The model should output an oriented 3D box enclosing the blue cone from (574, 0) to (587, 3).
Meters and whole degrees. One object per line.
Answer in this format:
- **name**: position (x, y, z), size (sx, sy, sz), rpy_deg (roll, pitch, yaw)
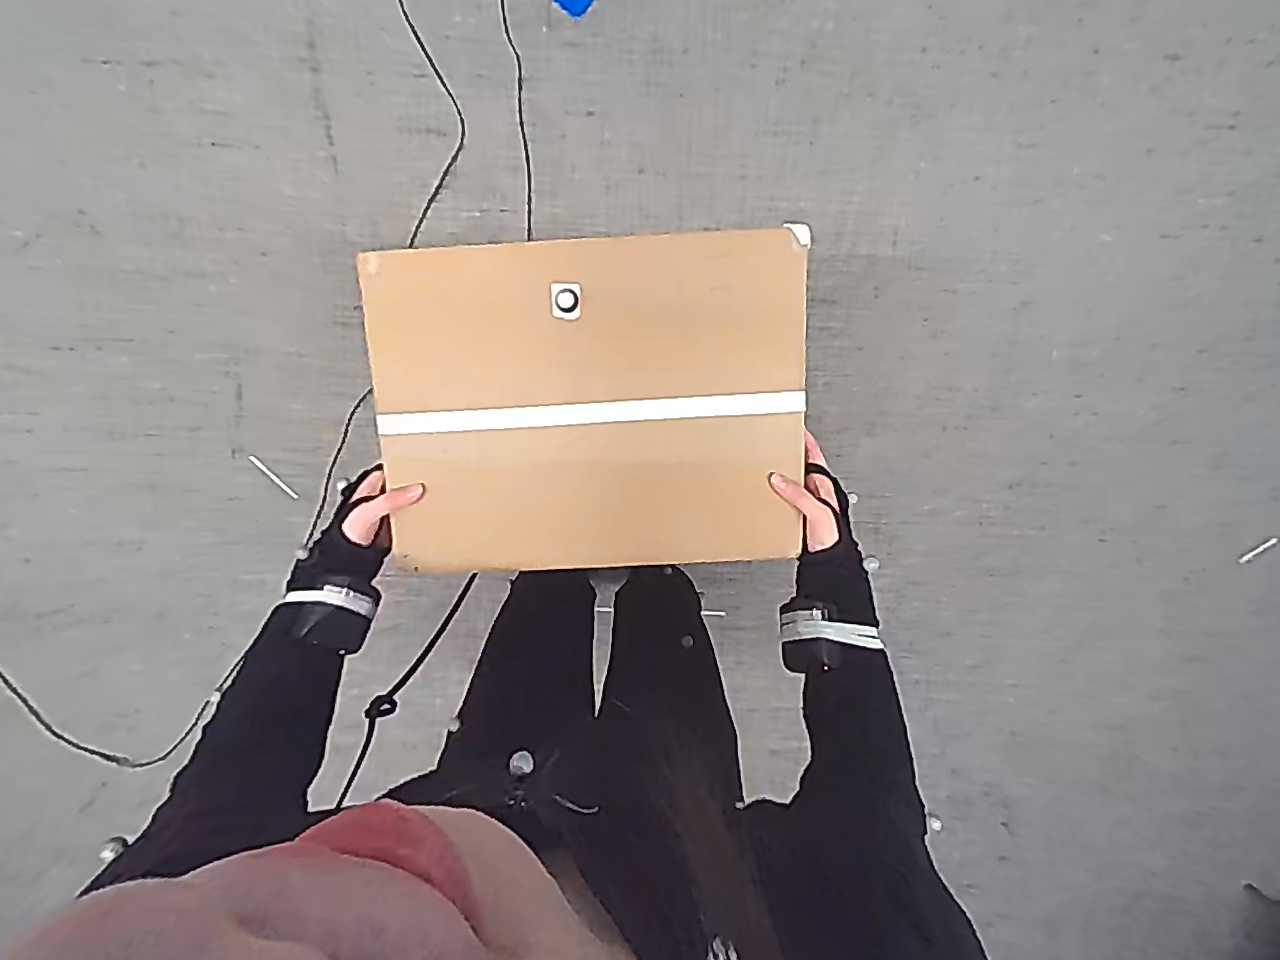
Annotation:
- **blue cone**: position (-0.136, -1.047, 0.901), size (0.192, 0.380, 0.193), rpy_deg (35, 98, -7)
